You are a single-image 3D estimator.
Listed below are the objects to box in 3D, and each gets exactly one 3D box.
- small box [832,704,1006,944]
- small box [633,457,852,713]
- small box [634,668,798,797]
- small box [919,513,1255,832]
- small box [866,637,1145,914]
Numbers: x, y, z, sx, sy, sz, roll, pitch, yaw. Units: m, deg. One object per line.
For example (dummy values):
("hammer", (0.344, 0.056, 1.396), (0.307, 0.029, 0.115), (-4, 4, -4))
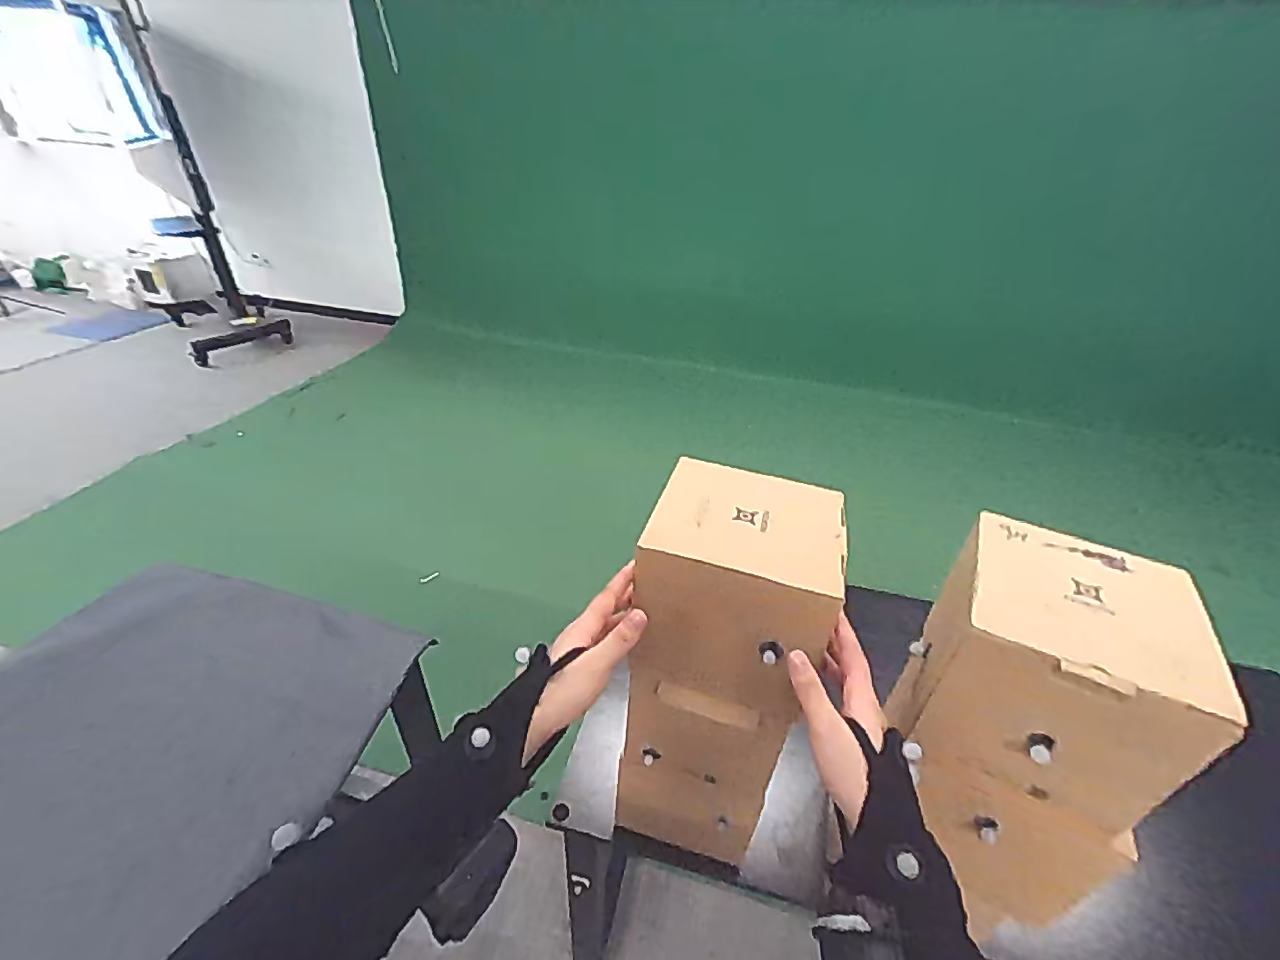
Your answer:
("small box", (0.345, 0.425, 0.673), (0.168, 0.176, 0.179), (14, 36, 14))
("small box", (0.101, 0.102, 0.545), (0.179, 0.176, 0.168), (12, 33, 13))
("small box", (0.095, 0.234, 0.642), (0.168, 0.176, 0.179), (13, 35, 13))
("small box", (0.365, 0.163, 0.482), (0.168, 0.176, 0.179), (18, 38, 24))
("small box", (0.359, 0.304, 0.563), (0.179, 0.176, 0.168), (18, 38, 21))
